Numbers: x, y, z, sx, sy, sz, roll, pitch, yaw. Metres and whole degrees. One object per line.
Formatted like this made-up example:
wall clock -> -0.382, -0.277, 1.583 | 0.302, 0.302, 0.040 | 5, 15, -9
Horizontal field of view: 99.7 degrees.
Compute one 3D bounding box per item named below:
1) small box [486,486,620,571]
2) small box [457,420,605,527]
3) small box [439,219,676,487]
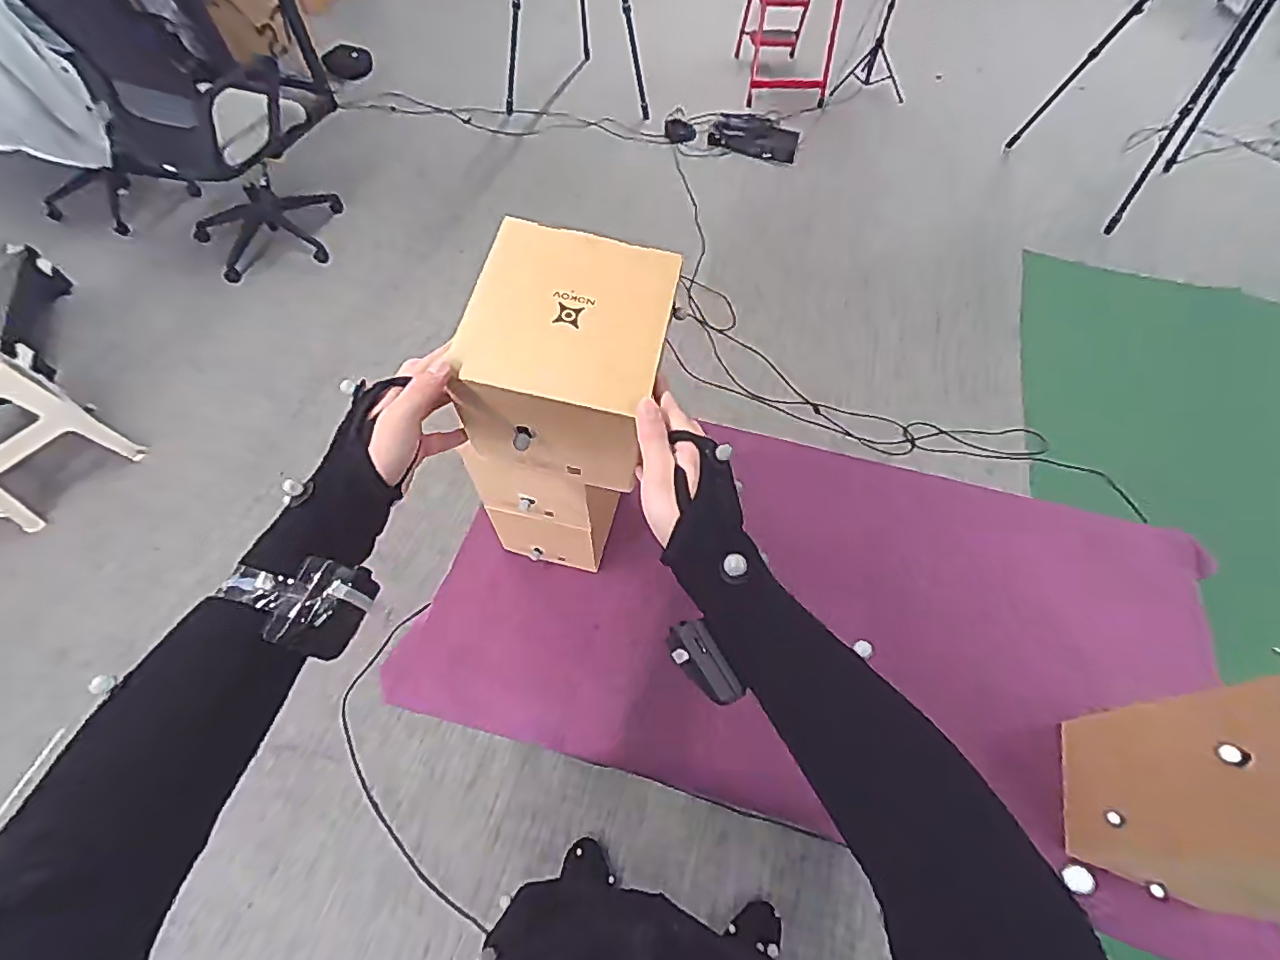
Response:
small box -> -0.131, 0.026, 0.897 | 0.168, 0.176, 0.179 | 12, 60, 7
small box -> -0.127, -0.059, 0.757 | 0.168, 0.176, 0.179 | 12, 60, 7
small box -> -0.069, -0.111, 0.527 | 0.168, 0.176, 0.179 | 12, 67, 0
